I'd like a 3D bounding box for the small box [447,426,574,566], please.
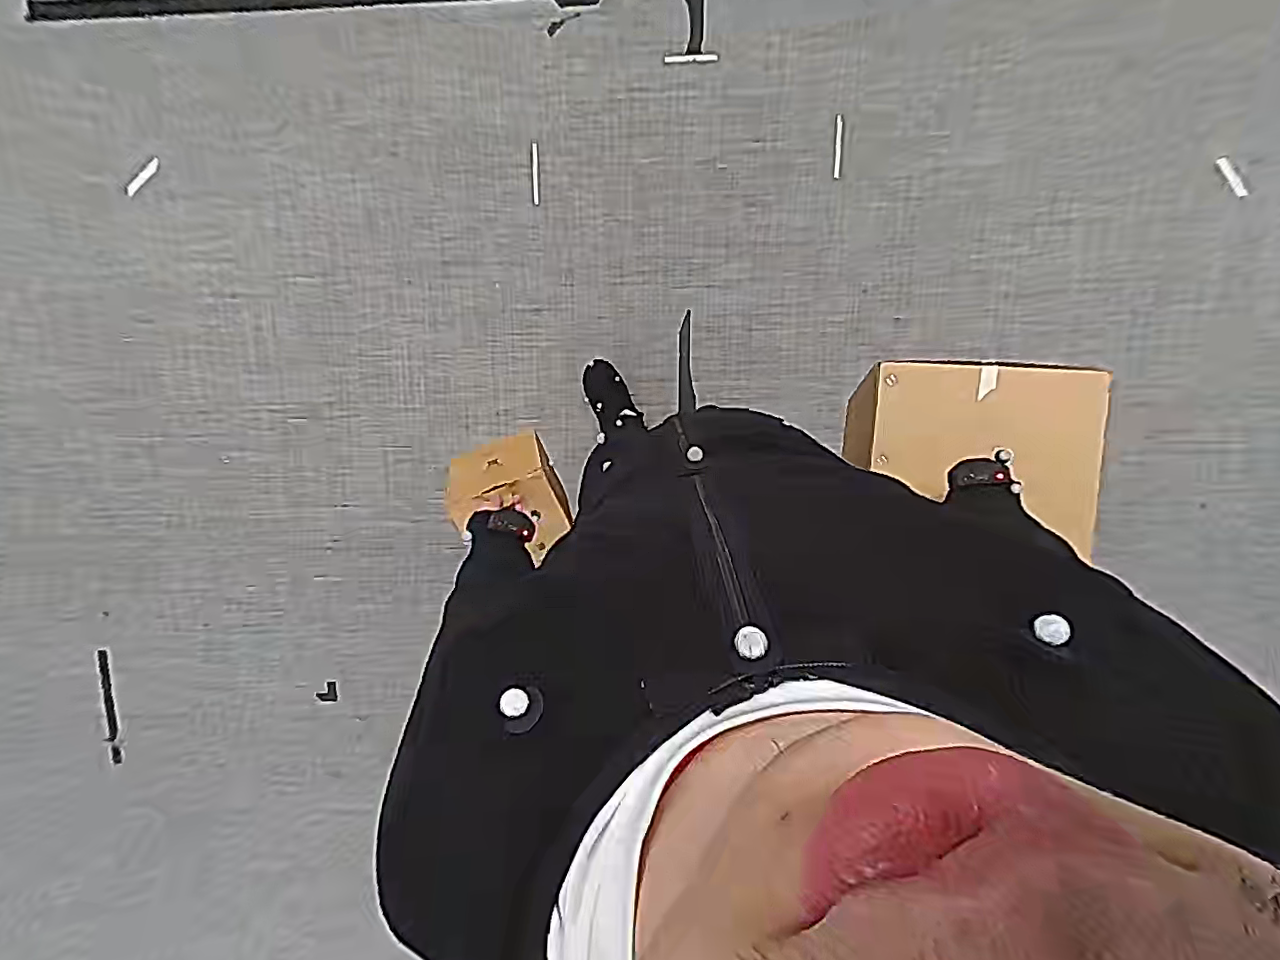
[{"bbox_3d":[-0.230,0.034,0.979,0.168,0.179,0.176,-22,121,-3],"label":"small box"}]
